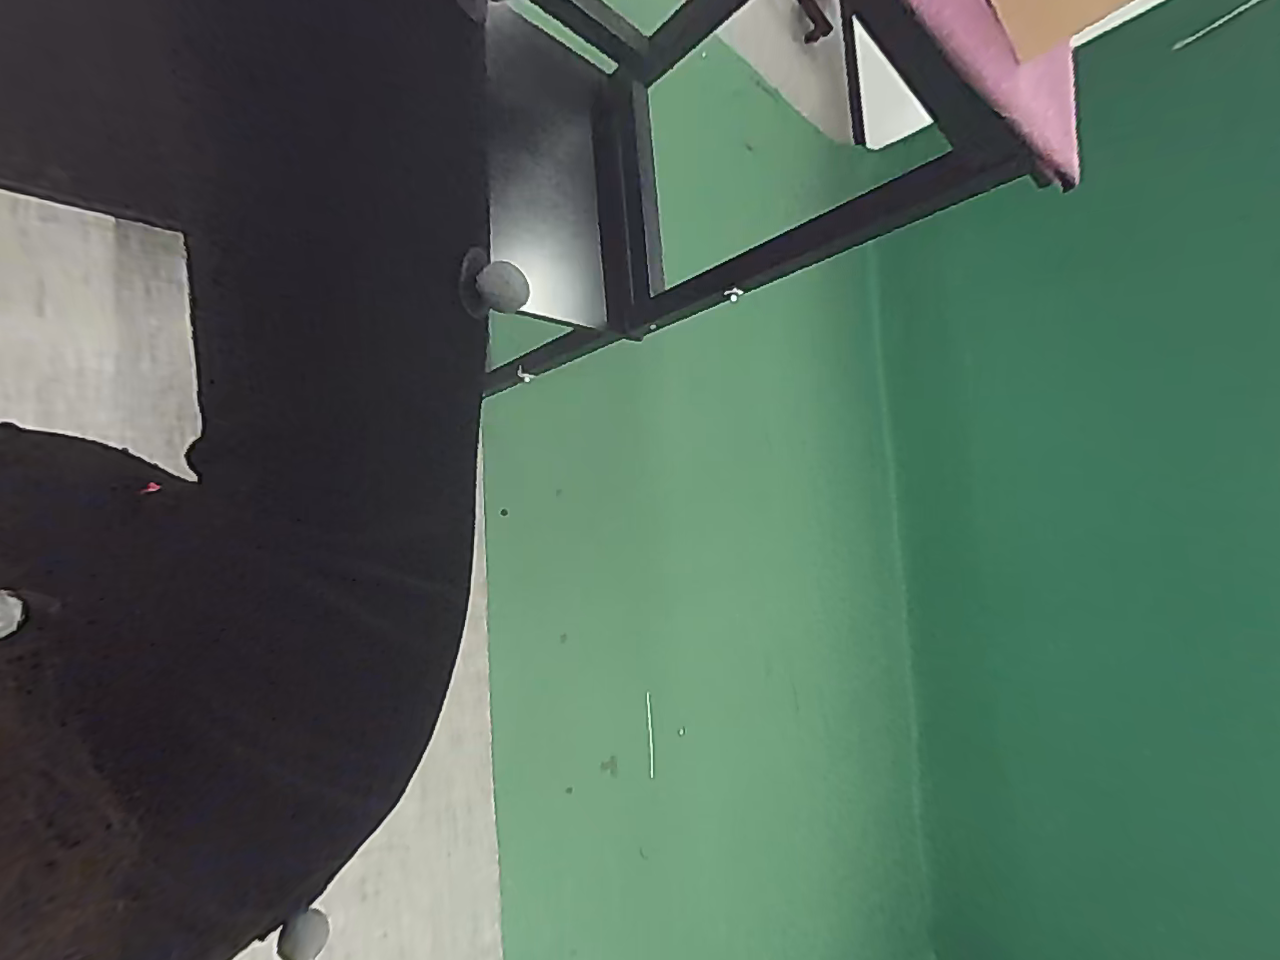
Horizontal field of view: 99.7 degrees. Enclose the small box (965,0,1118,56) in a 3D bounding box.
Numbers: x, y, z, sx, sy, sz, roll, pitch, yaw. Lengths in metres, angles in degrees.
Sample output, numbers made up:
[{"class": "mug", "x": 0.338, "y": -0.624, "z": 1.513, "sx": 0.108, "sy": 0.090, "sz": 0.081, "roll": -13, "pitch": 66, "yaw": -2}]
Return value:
[{"class": "small box", "x": 0.356, "y": -0.511, "z": 0.449, "sx": 0.179, "sy": 0.176, "sz": 0.168, "roll": 7, "pitch": 77, "yaw": -41}]
